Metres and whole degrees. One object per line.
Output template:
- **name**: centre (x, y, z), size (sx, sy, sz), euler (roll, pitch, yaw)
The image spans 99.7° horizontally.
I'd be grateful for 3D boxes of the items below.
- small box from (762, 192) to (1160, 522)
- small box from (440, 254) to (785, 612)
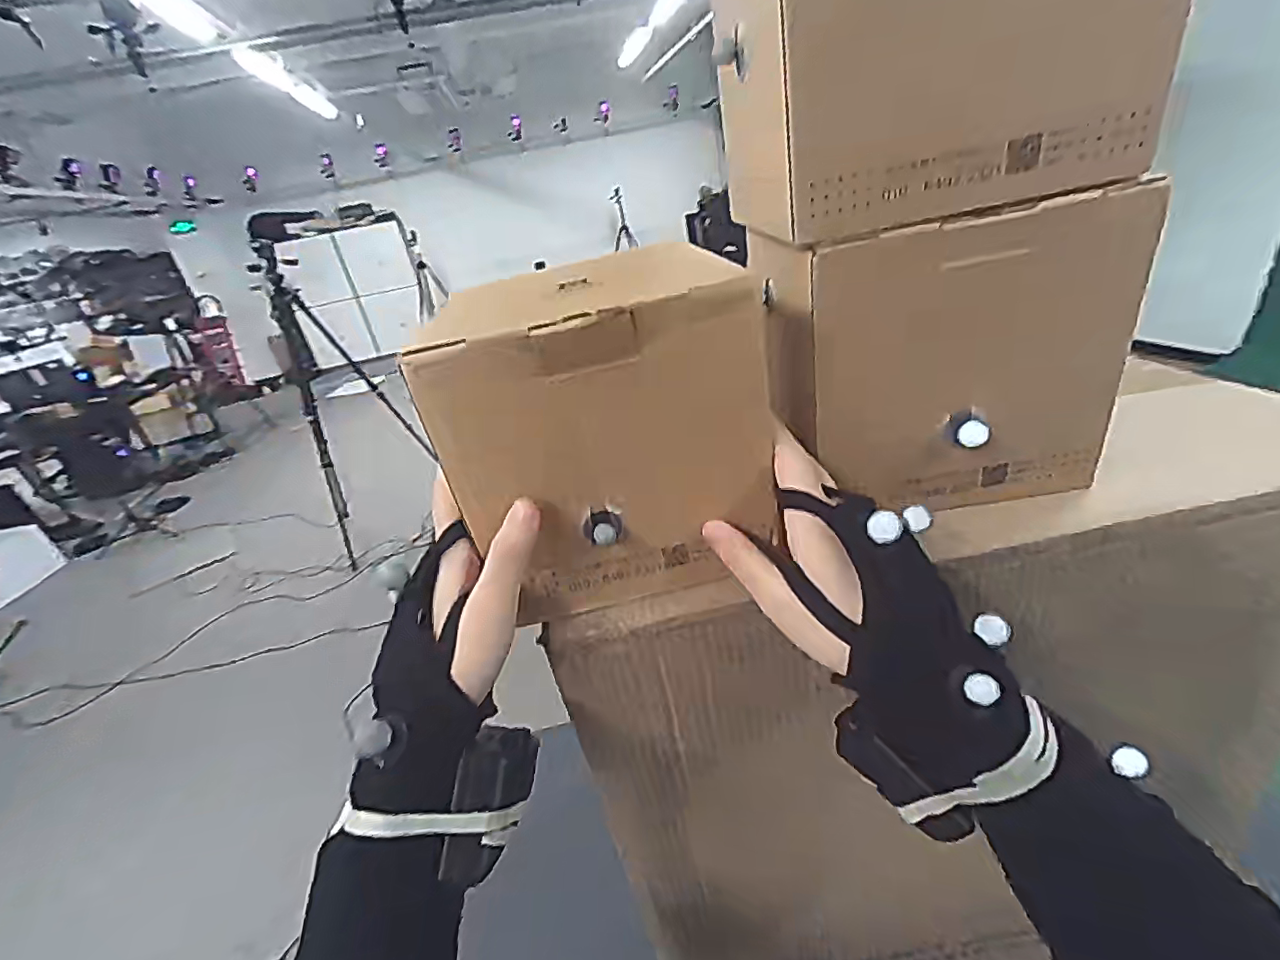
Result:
- **small box**: centre (0.187, -0.092, 0.380), size (0.168, 0.176, 0.179), euler (-10, 29, 4)
- **small box**: centre (-0.012, -0.042, 0.364), size (0.168, 0.176, 0.179), euler (-13, 30, -2)
